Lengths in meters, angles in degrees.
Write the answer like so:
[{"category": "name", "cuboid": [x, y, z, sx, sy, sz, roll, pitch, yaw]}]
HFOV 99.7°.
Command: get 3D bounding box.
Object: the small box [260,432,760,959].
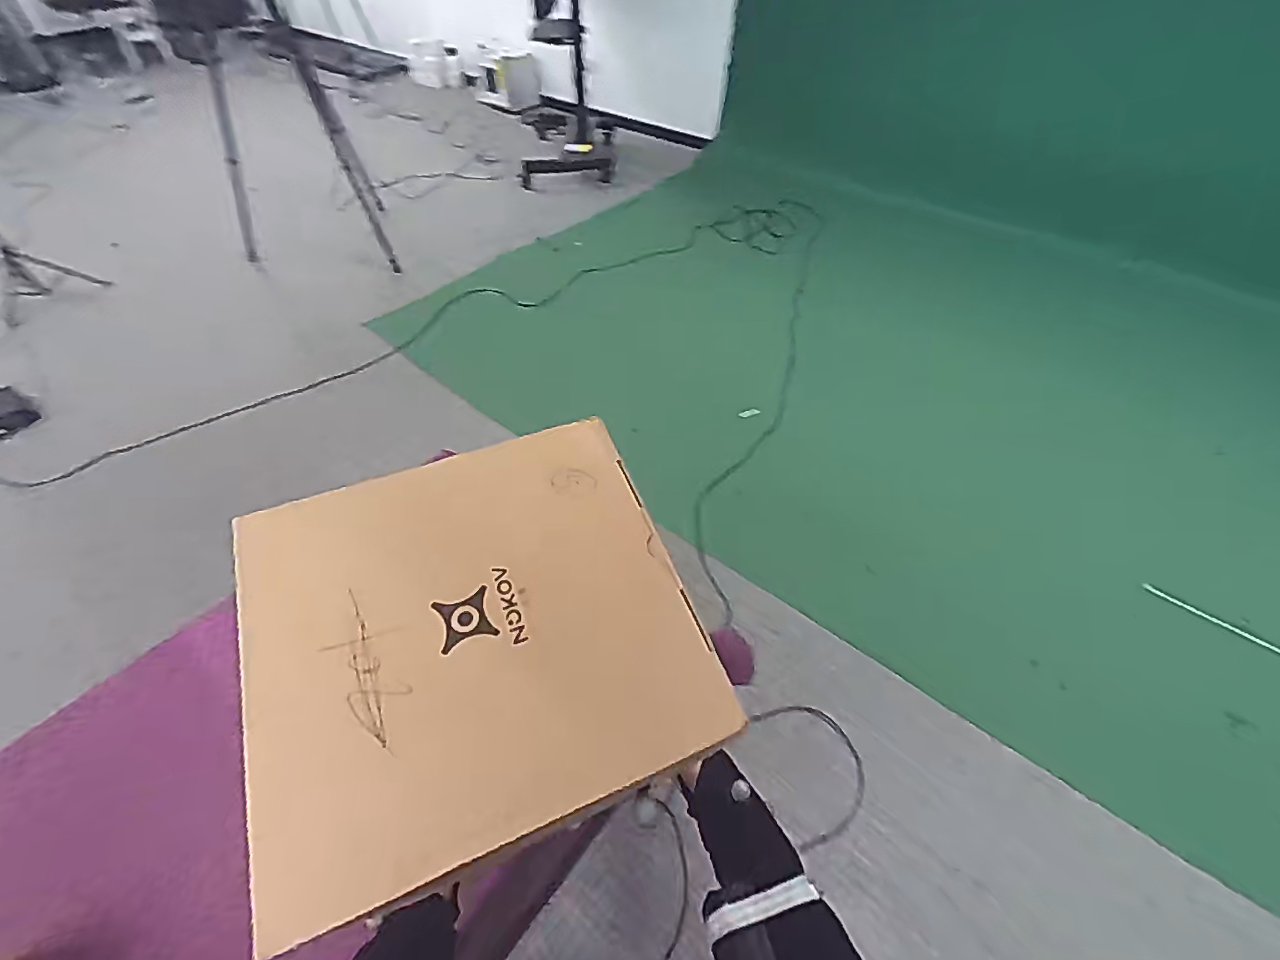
[{"category": "small box", "cuboid": [-0.066, 0.105, 0.292, 0.179, 0.176, 0.168, -17, 60, -14]}]
